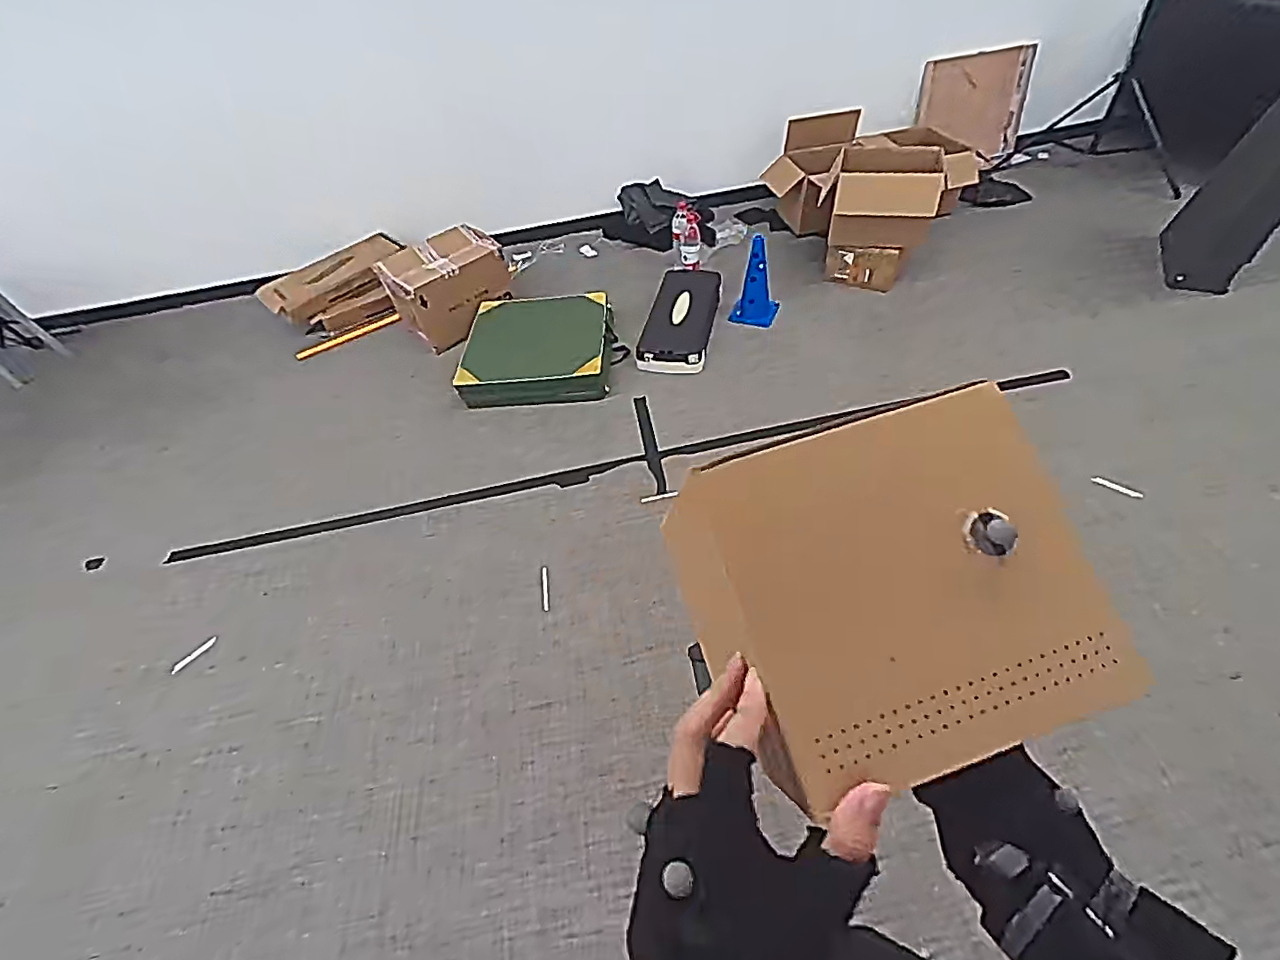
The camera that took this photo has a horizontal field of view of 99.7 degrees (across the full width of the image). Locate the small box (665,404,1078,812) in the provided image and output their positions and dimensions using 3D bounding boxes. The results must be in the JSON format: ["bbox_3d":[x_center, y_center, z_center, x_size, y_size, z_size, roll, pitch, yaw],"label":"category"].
[{"bbox_3d":[0.129,0.076,0.351,0.179,0.168,0.176,-17,76,-7],"label":"small box"}]
